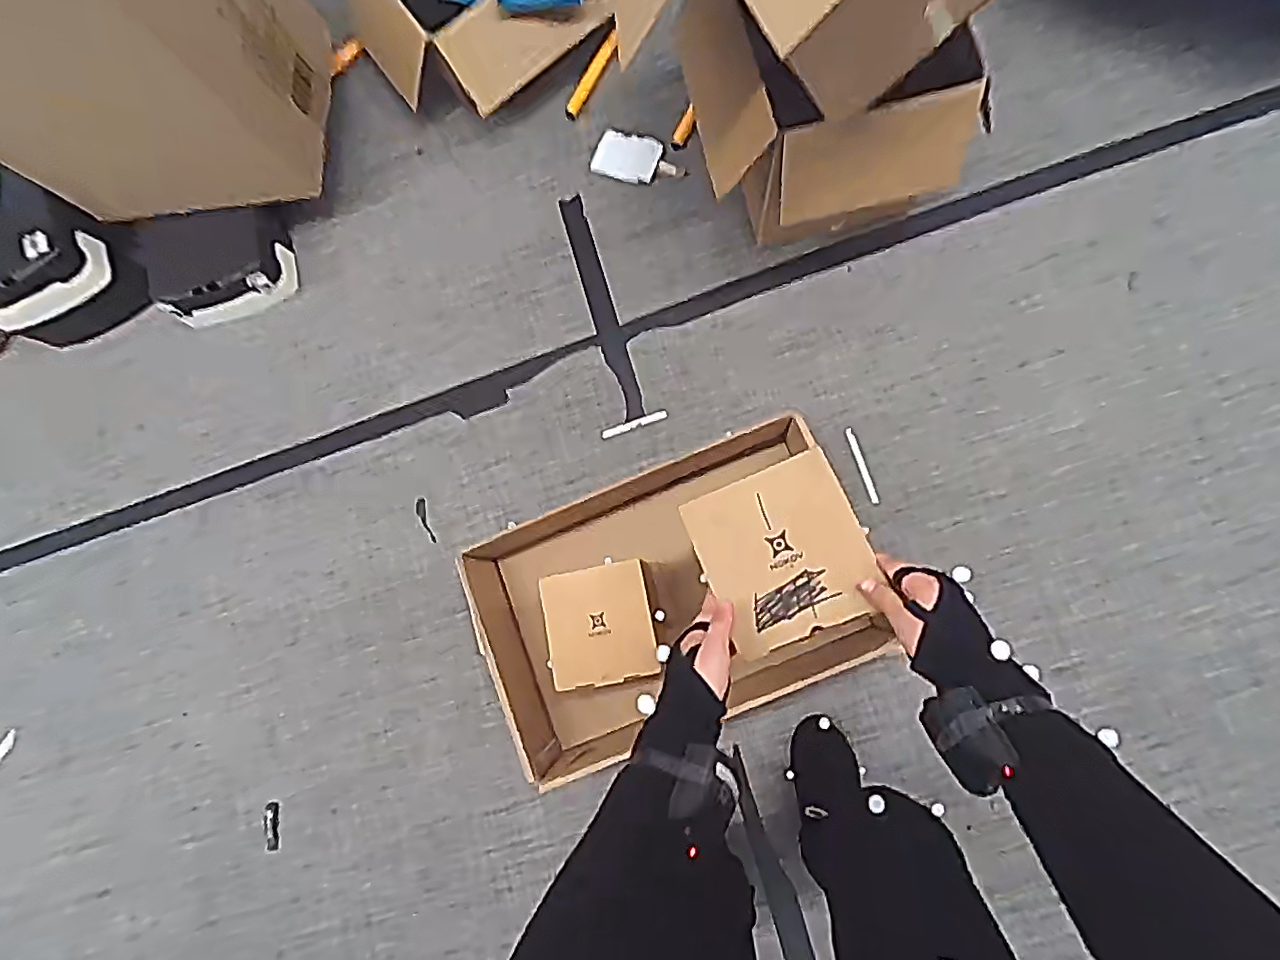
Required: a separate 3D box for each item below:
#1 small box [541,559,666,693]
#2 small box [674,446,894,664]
[{"bbox_3d":[-0.054,0.237,0.905,0.168,0.176,0.179,-13,79,4],"label":"small box"},{"bbox_3d":[0.157,0.085,0.616,0.168,0.176,0.179,-24,76,8],"label":"small box"}]
